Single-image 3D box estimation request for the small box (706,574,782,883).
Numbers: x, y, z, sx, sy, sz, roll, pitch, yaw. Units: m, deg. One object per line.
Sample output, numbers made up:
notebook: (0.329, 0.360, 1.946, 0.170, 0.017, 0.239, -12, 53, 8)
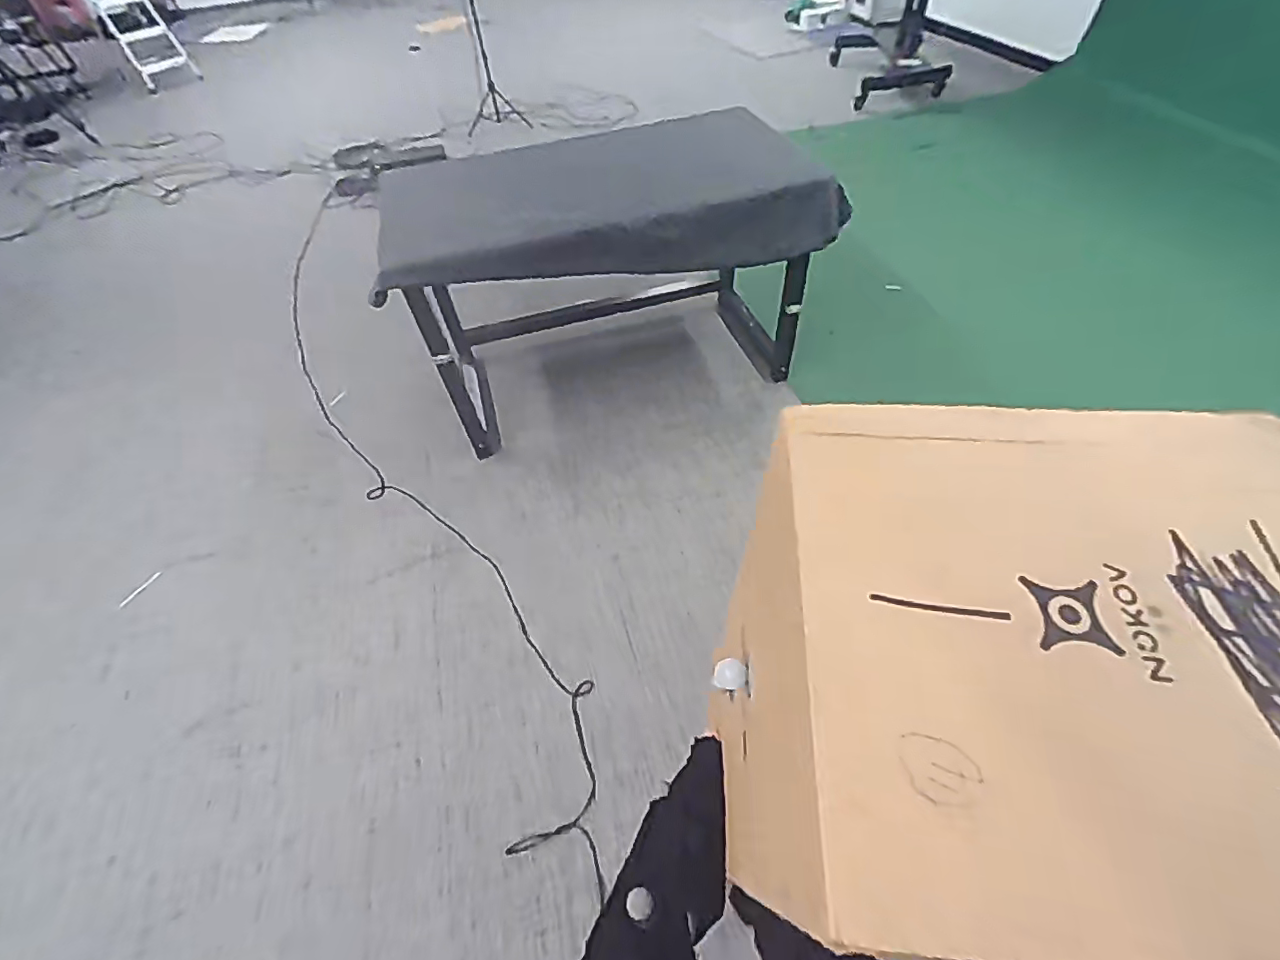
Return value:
small box: (0.141, 0.174, 0.374, 0.179, 0.176, 0.168, 0, 57, 3)
